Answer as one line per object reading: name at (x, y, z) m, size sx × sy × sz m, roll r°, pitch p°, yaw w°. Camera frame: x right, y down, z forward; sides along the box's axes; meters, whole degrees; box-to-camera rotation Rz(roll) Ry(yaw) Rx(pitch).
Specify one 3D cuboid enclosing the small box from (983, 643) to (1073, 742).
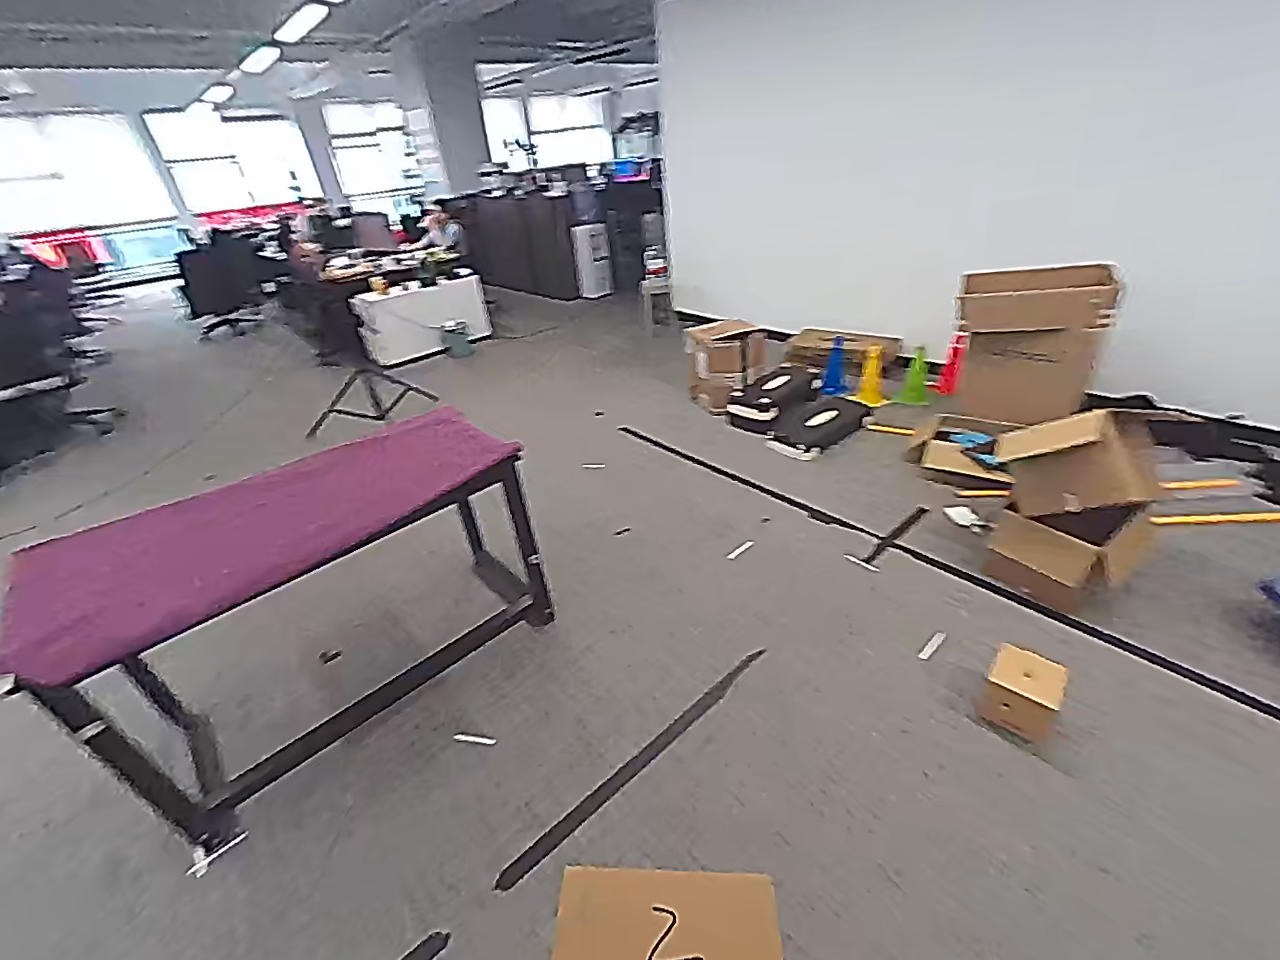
small box at (1.129, 0.623, 1.582) m, size 0.168 × 0.176 × 0.179 m, roll 21°, pitch 41°, yaw 37°
